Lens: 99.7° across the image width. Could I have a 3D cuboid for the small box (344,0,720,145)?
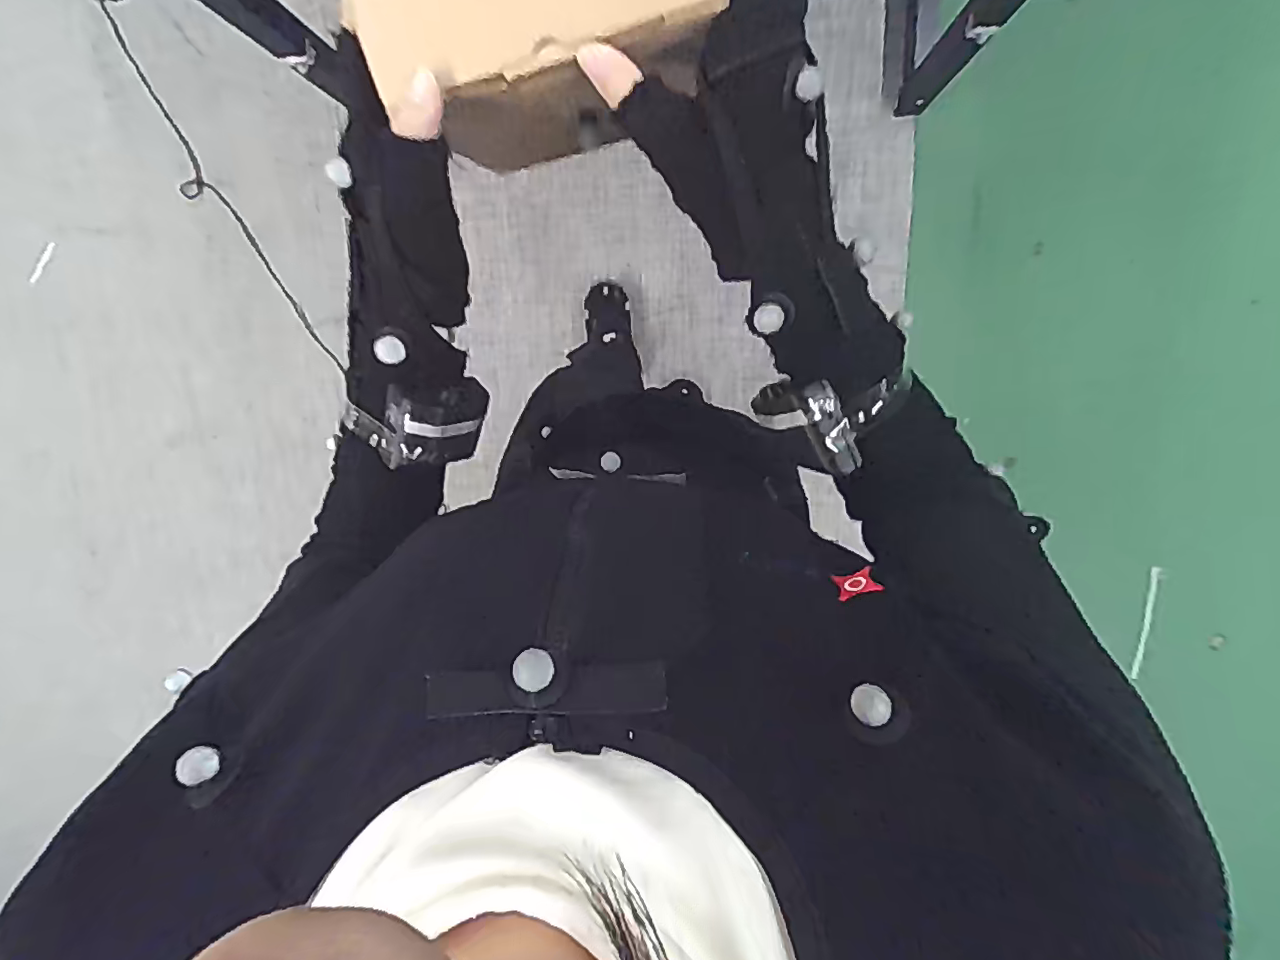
[{"bbox_3d":[-0.054,-0.297,0.283,0.168,0.176,0.179,-11,112,9],"label":"small box"}]
